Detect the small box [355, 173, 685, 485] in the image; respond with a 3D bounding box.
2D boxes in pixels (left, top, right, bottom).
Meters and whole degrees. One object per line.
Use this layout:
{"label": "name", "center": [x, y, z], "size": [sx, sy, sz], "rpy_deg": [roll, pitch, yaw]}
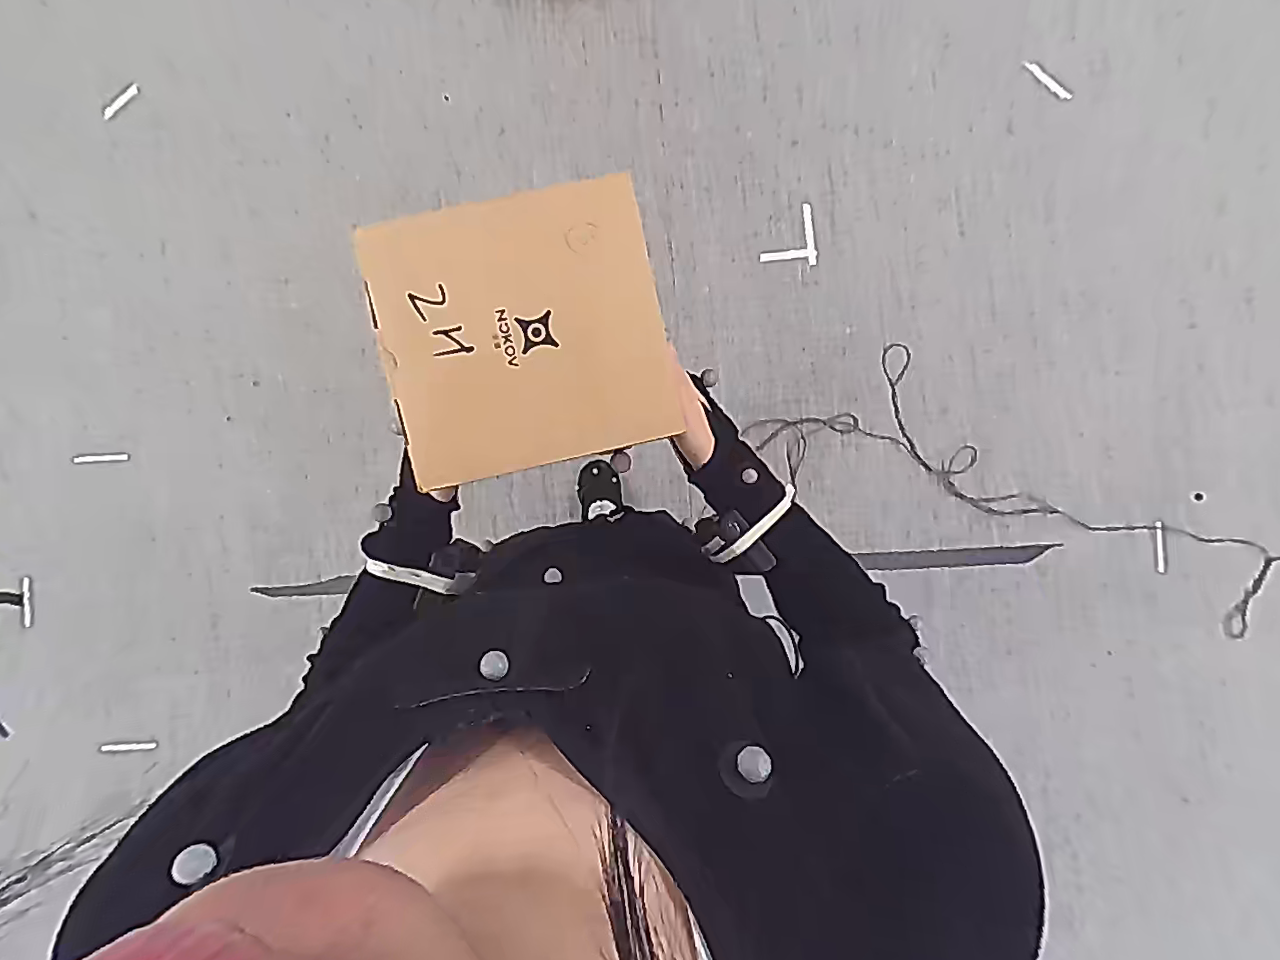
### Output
{"label": "small box", "center": [-0.077, -0.099, 0.414], "size": [0.179, 0.176, 0.168], "rpy_deg": [-13, 94, -2]}
